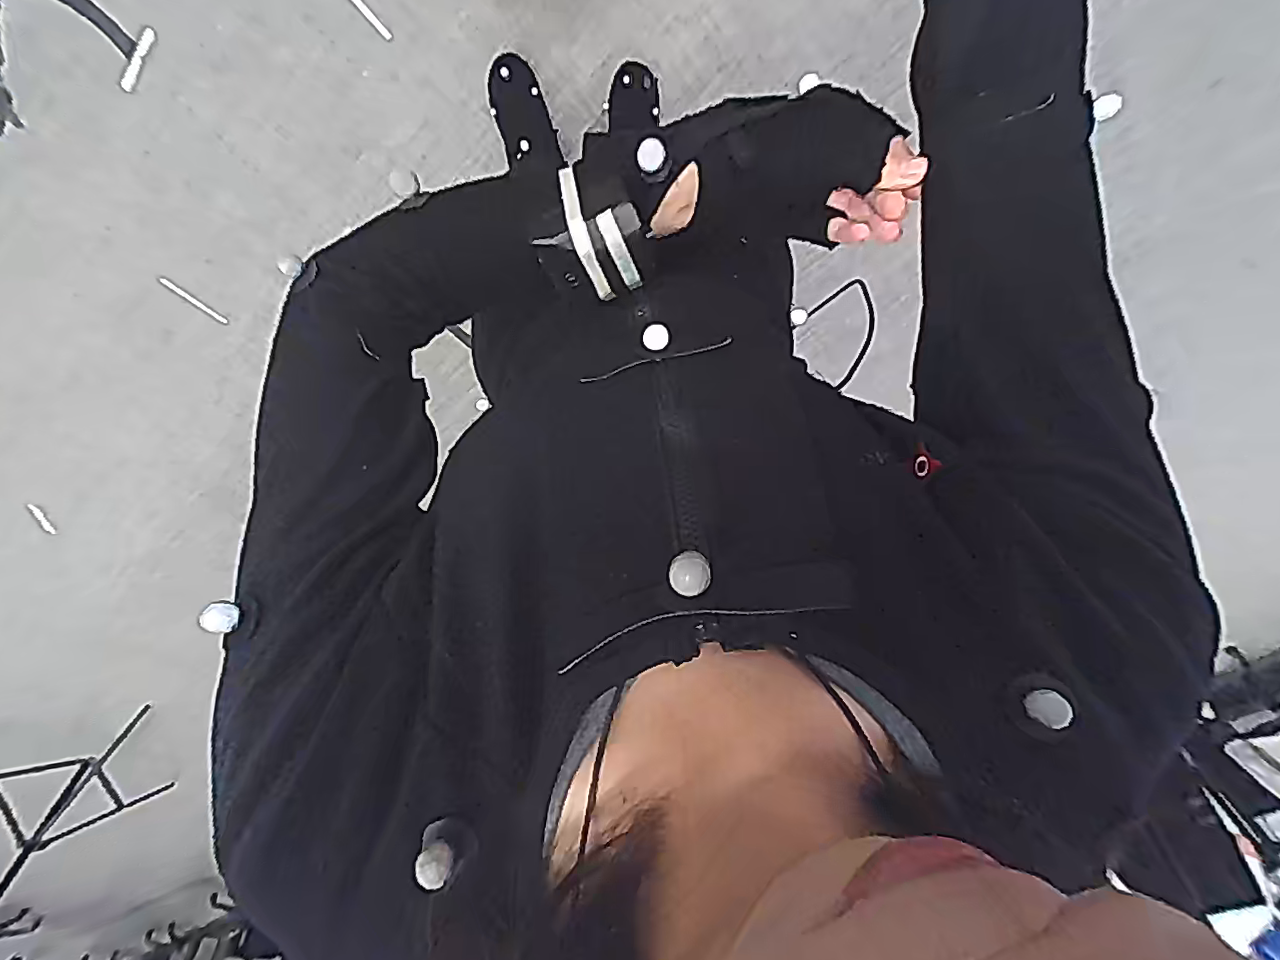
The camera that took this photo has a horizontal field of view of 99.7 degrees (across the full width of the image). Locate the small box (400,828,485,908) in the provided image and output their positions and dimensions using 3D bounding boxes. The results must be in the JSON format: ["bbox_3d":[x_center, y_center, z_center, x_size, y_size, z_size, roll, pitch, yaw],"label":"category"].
[{"bbox_3d":[-0.617,1.224,1.708,0.168,0.176,0.179,-33,127,23],"label":"small box"}]
